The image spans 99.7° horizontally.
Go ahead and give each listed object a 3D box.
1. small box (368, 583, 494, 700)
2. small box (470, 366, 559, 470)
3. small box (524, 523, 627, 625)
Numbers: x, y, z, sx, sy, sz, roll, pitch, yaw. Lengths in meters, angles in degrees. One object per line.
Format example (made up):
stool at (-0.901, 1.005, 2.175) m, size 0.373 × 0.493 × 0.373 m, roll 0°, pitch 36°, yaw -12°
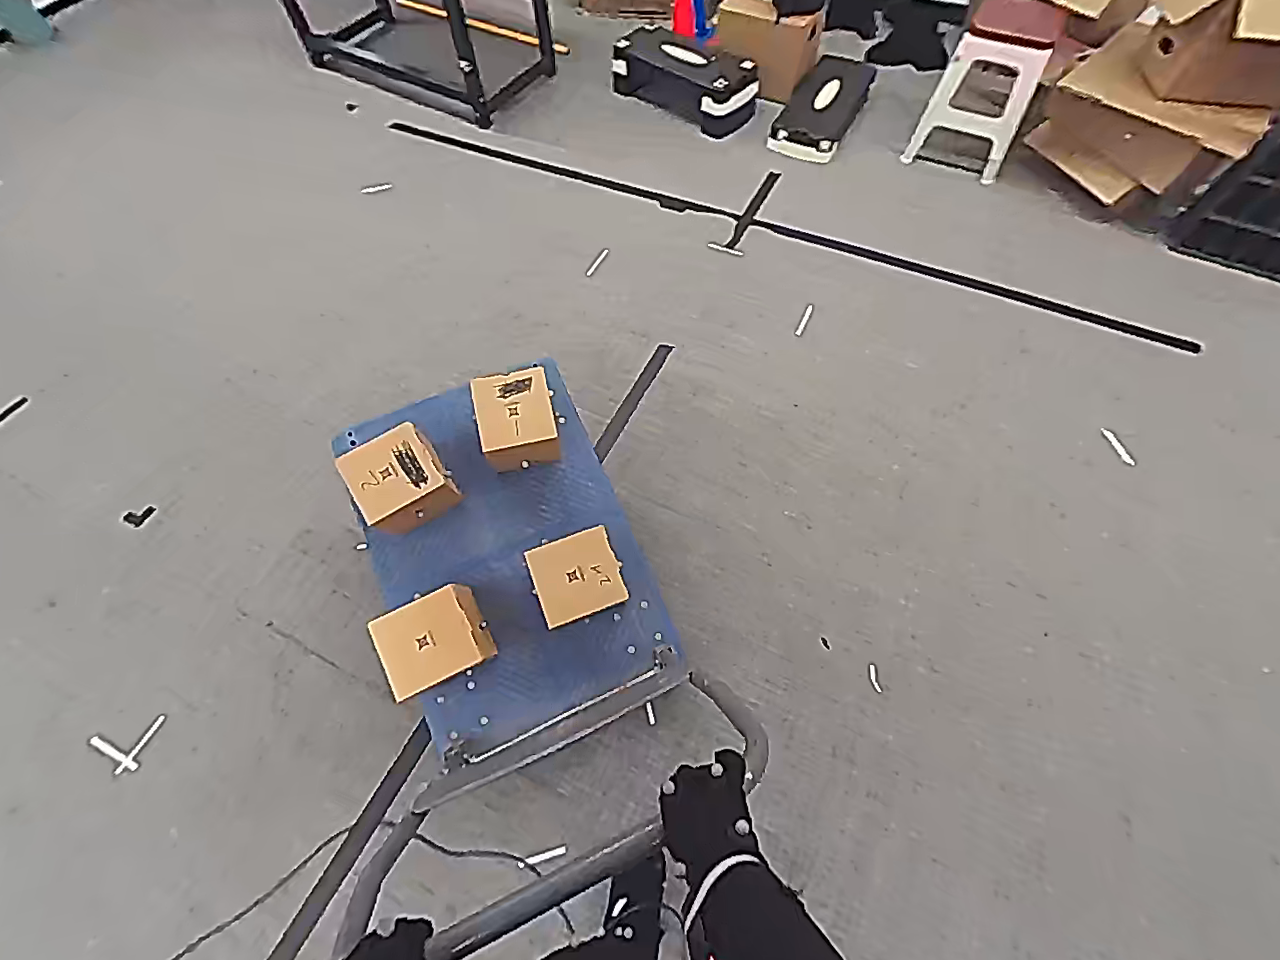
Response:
small box at (-0.425, 0.333, 1.126) m, size 0.179 × 0.176 × 0.168 m, roll -26°, pitch 79°, yaw -12°
small box at (-0.287, -0.139, 1.261) m, size 0.168 × 0.176 × 0.179 m, roll -13°, pitch 78°, yaw -8°
small box at (-0.137, 0.211, 1.182) m, size 0.179 × 0.176 × 0.168 m, roll -19°, pitch 78°, yaw -9°
